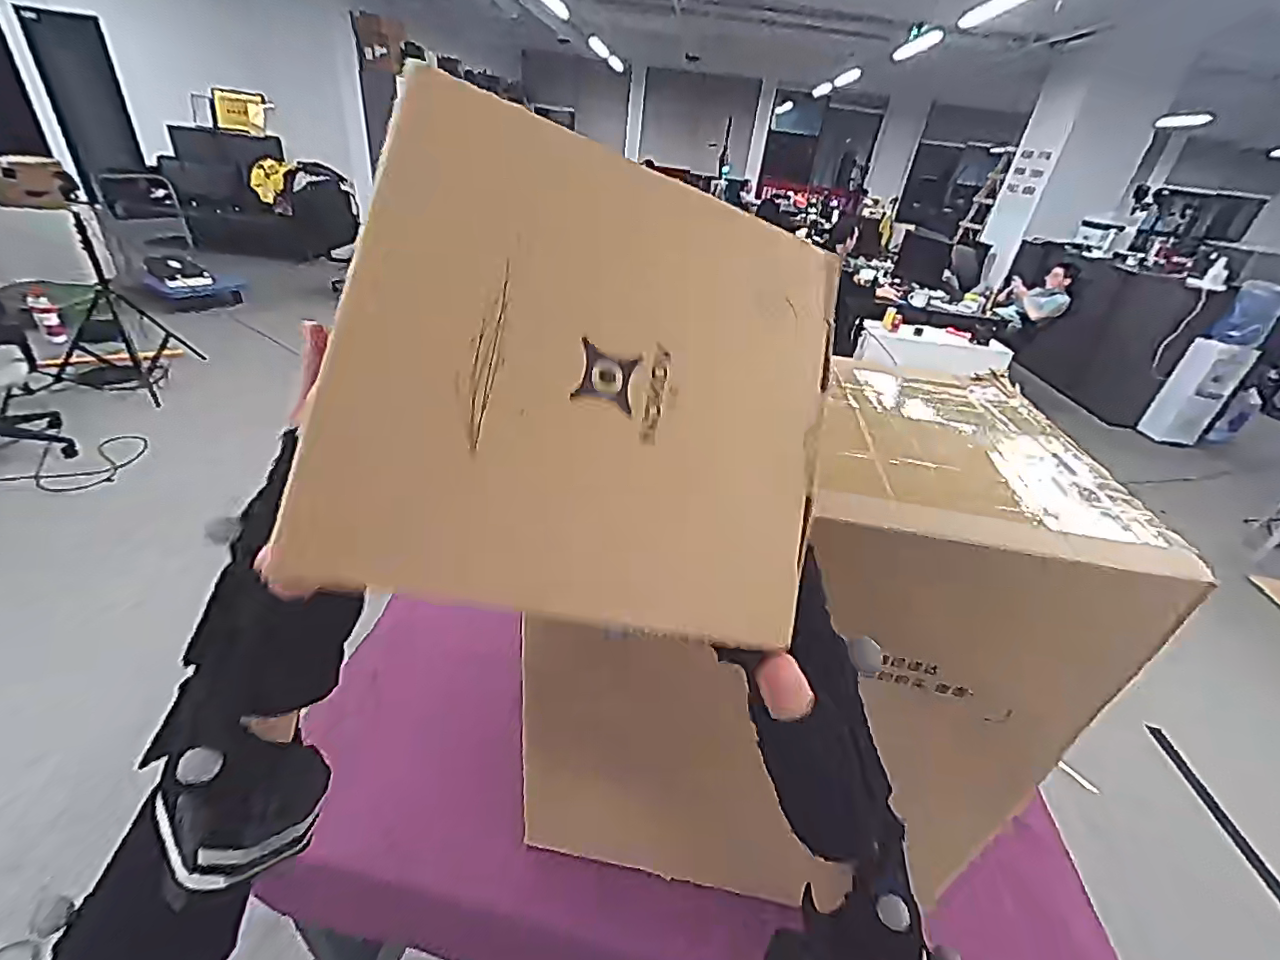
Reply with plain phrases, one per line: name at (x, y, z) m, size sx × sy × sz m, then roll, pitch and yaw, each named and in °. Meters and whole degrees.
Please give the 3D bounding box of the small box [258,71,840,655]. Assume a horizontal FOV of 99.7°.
small box at (-0.038, -0.025, 0.259) m, size 0.179 × 0.168 × 0.176 m, roll 13°, pitch -9°, yaw -20°
